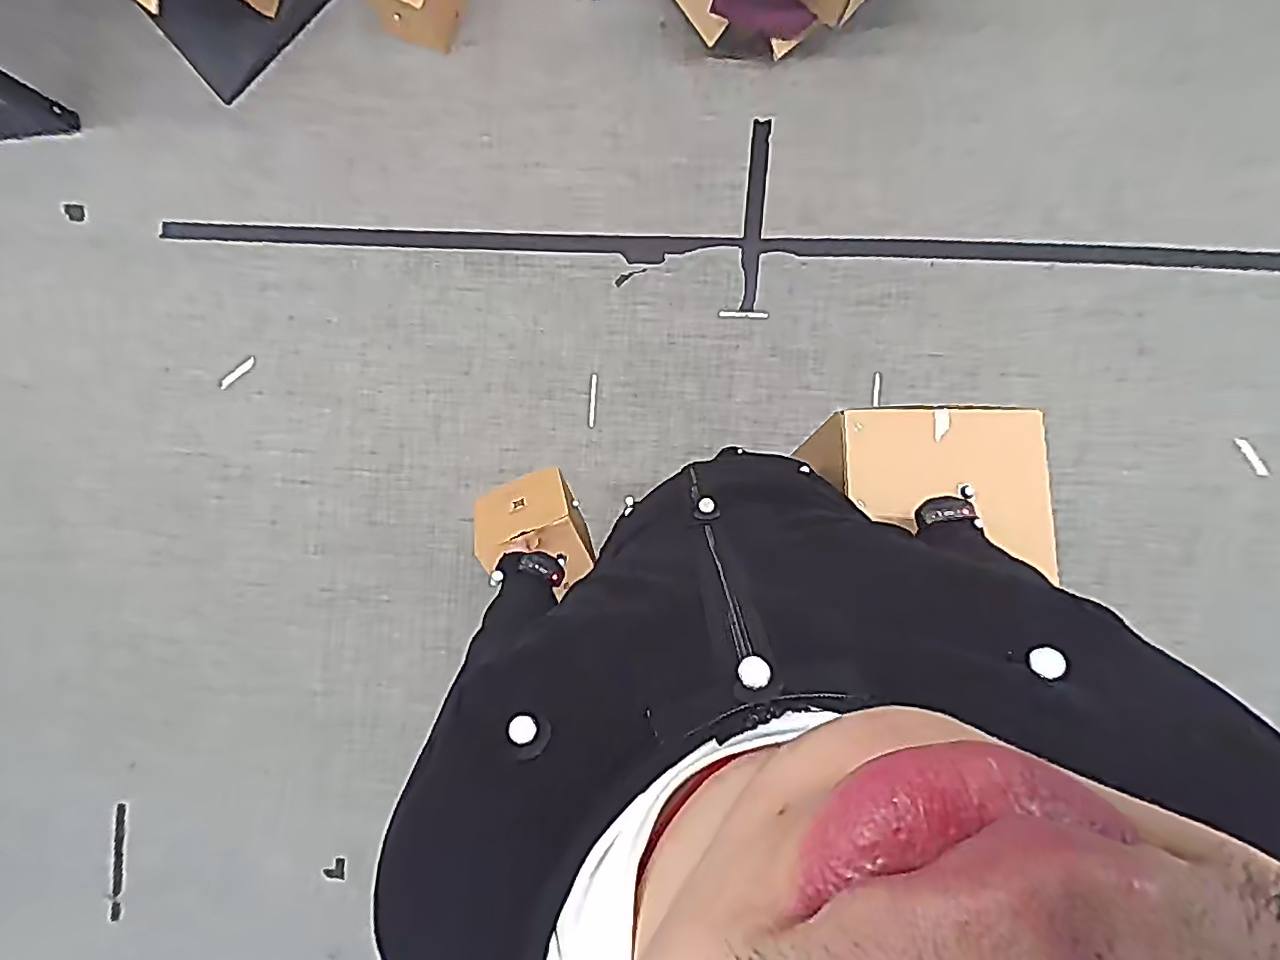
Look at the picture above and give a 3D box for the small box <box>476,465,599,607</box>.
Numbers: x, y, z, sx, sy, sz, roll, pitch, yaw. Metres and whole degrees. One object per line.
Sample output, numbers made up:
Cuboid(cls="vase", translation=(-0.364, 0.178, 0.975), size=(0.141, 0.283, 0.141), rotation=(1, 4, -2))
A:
Cuboid(cls="small box", translation=(-0.185, 0.108, 0.991), size=(0.168, 0.179, 0.176), rotation=(-22, 125, -2))
